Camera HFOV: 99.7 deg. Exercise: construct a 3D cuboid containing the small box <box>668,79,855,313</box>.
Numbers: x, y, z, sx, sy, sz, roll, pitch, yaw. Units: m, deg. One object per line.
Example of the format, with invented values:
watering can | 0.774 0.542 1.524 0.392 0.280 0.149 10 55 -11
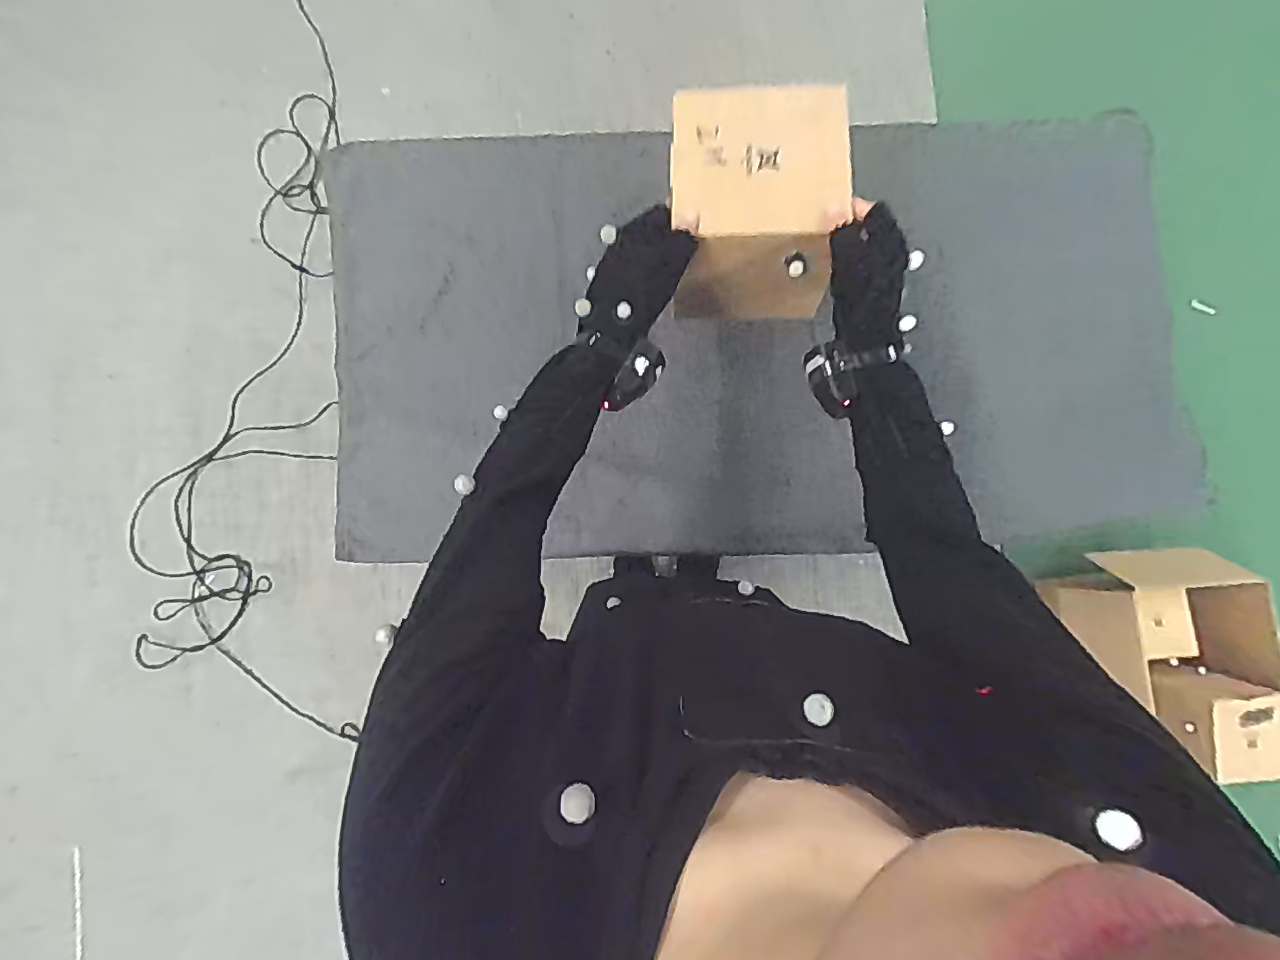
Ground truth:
small box | 0.122 -0.298 0.597 0.179 0.176 0.168 2 80 5
